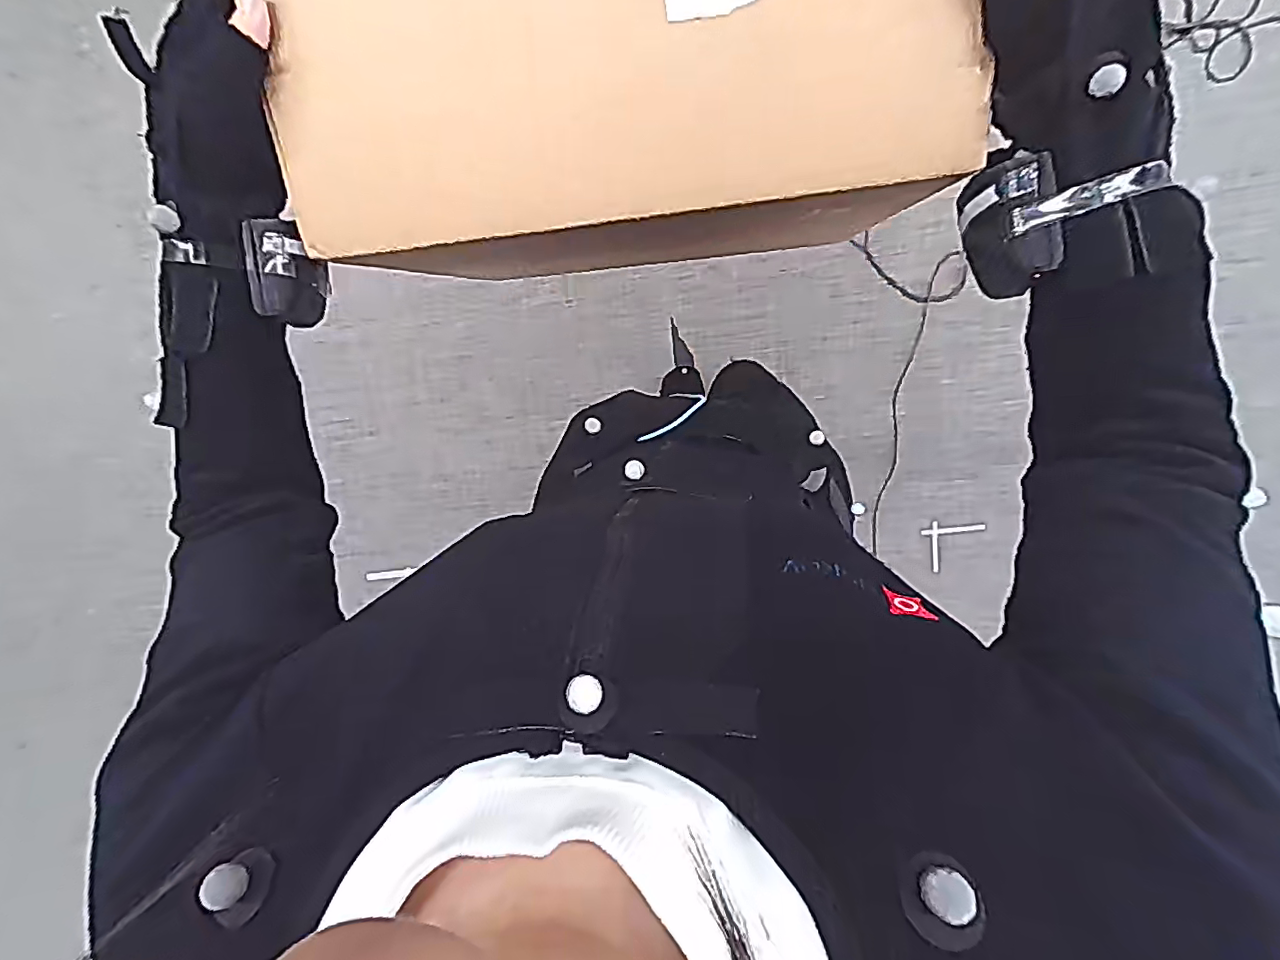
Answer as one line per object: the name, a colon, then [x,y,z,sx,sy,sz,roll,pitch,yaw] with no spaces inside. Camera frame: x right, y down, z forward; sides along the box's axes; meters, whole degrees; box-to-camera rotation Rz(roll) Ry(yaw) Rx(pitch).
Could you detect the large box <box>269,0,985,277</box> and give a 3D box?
large box: [-0.009,-0.357,0.428,0.408,0.320,0.320,-4,107,8]
